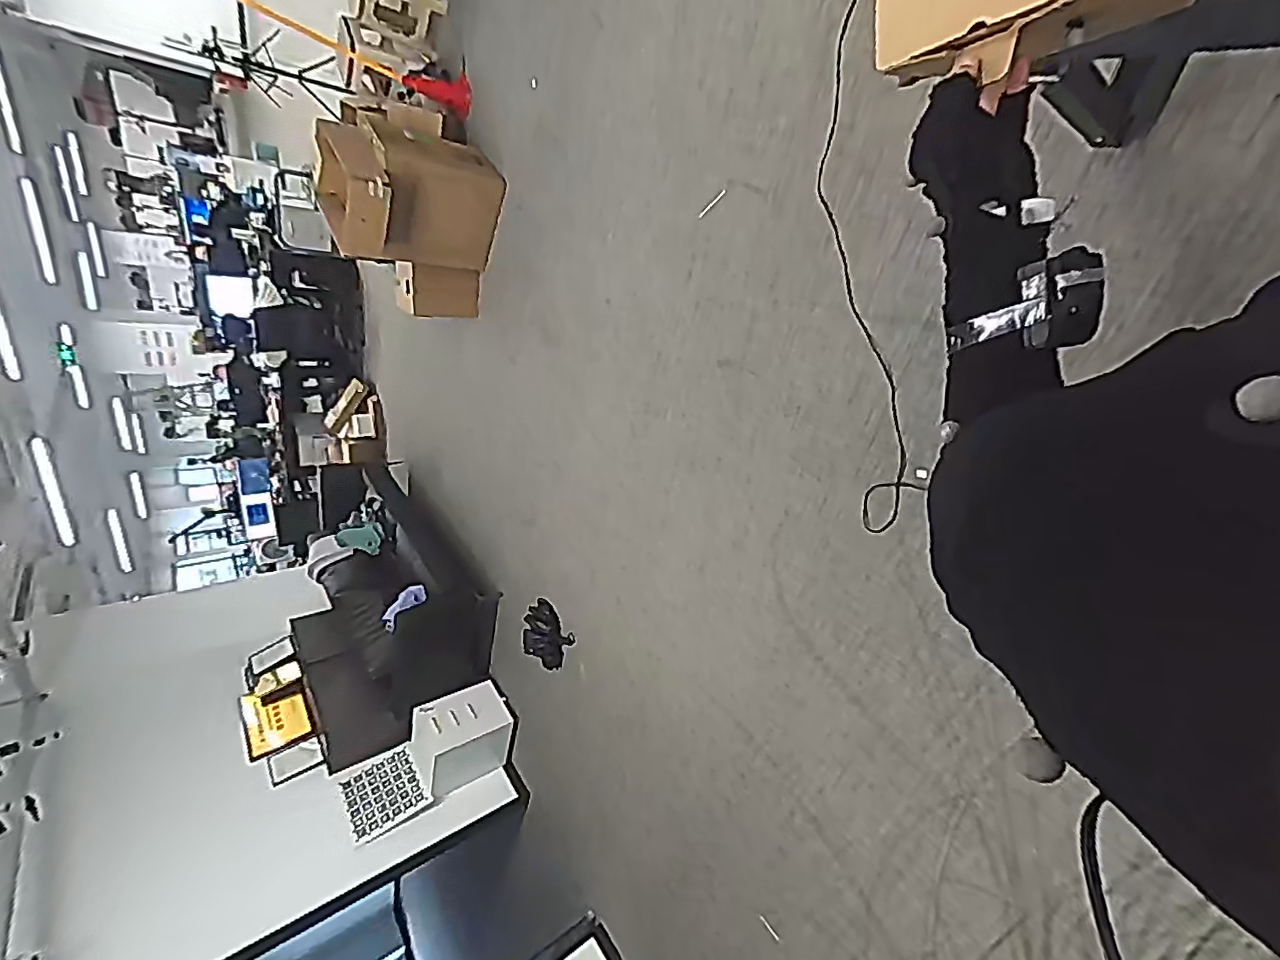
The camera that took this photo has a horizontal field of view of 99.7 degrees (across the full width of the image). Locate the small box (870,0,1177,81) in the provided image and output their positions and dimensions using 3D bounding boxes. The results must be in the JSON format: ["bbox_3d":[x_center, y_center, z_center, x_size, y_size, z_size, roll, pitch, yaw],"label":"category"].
[{"bbox_3d":[0.296,-0.431,0.406,0.168,0.176,0.179,20,126,52],"label":"small box"}]
